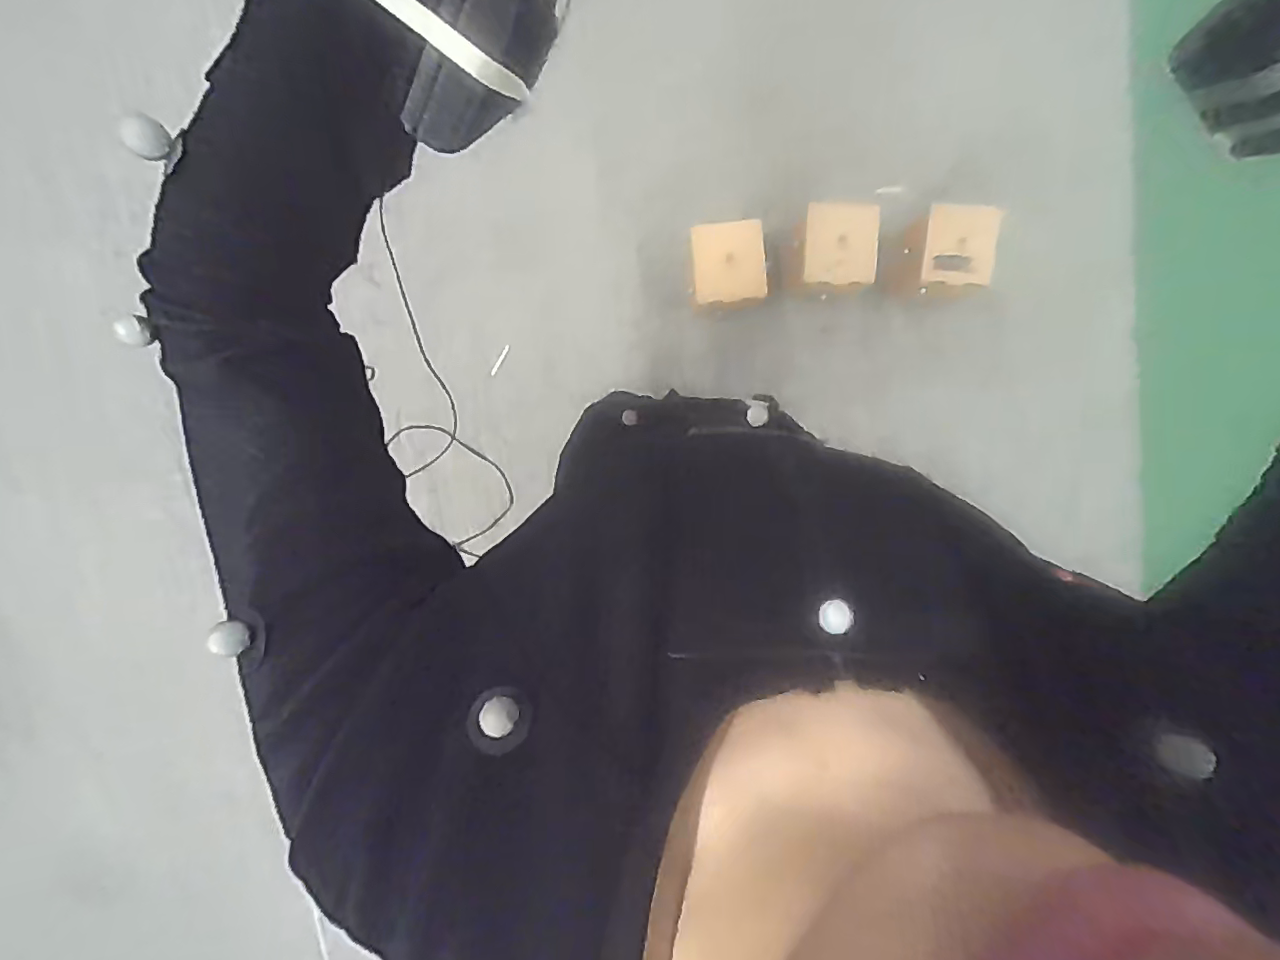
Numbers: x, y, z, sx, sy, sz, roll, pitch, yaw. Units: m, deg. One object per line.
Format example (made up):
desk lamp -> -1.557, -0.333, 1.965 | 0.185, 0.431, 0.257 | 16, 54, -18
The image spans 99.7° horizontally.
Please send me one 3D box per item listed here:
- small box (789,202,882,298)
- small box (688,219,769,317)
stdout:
small box -> 0.465, -0.550, 1.309 | 0.168, 0.176, 0.179 | 1, 98, 2
small box -> 0.212, -0.511, 1.323 | 0.168, 0.176, 0.179 | -7, 97, 3
